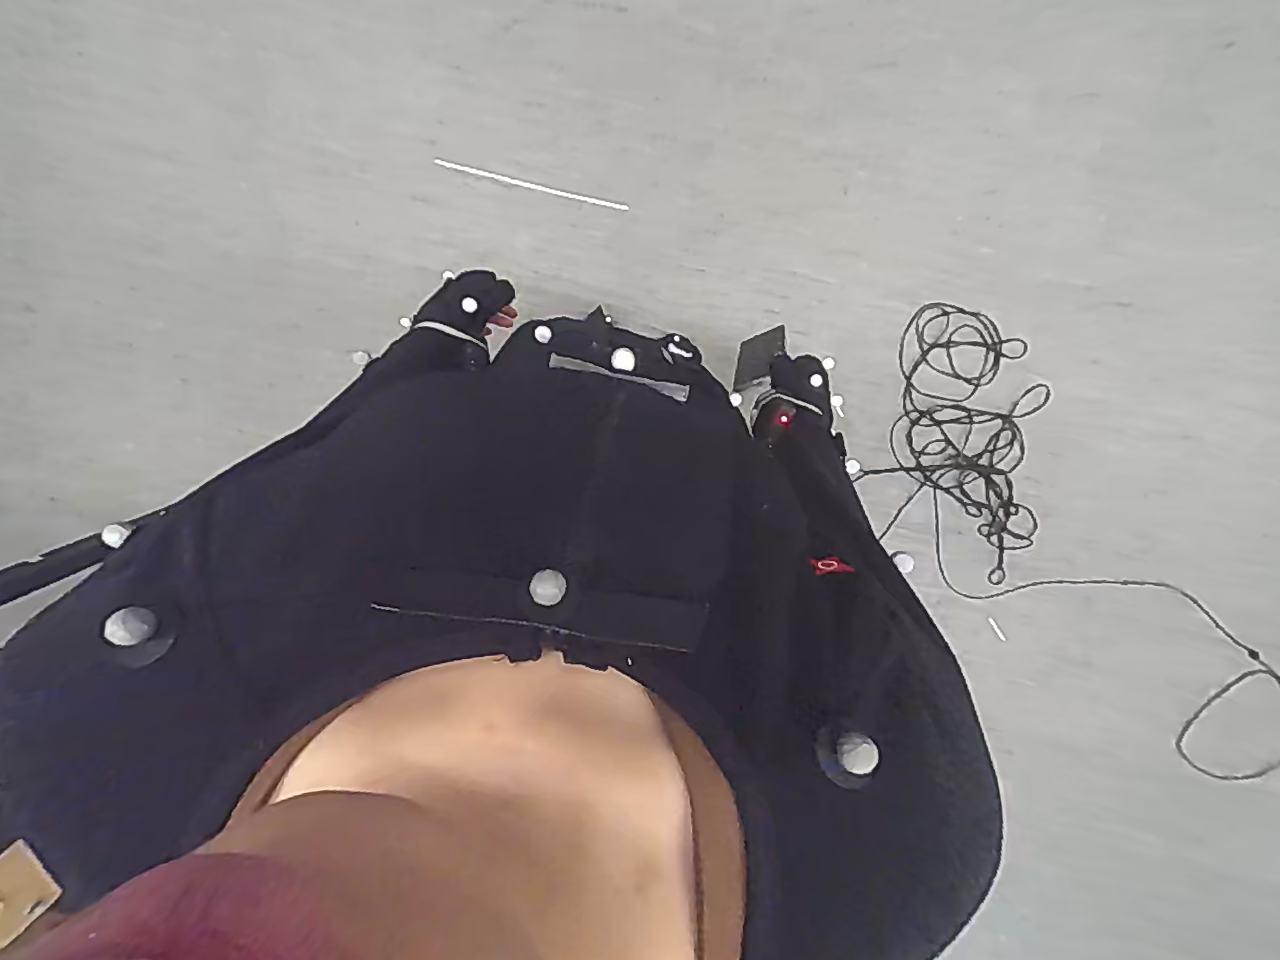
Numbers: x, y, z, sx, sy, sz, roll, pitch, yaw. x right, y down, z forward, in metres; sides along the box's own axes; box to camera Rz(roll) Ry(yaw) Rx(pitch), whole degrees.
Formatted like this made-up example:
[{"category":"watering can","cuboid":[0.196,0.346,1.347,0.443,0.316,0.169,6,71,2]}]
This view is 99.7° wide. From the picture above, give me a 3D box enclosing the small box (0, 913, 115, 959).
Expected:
[{"category":"small box","cuboid":[-1.125,0.957,0.995,0.168,0.176,0.179,16,107,-3]}]
